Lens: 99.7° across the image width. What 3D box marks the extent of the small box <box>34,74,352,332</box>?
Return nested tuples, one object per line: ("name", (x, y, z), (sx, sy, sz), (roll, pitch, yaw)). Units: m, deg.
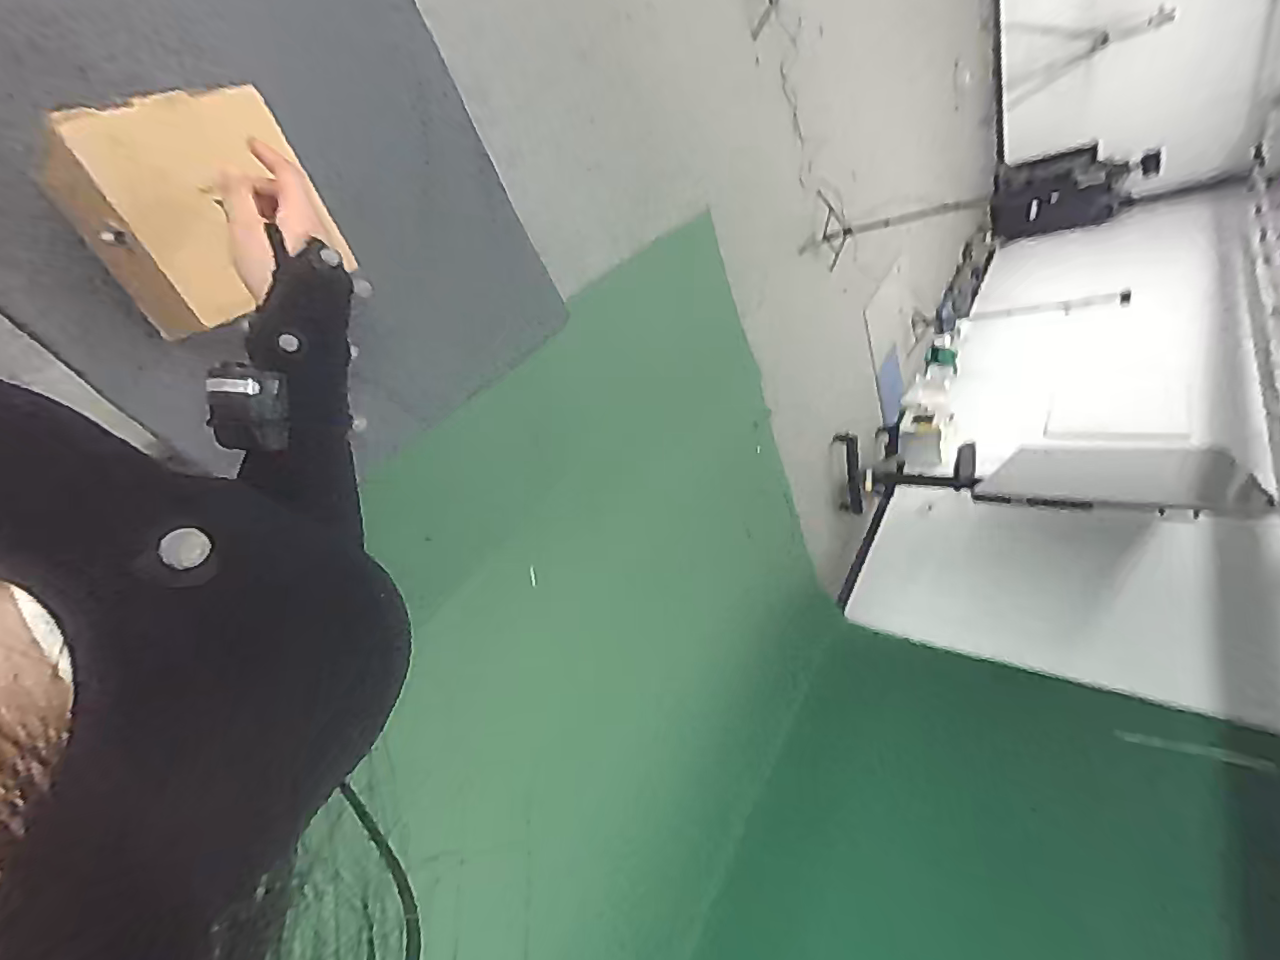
("small box", (-0.444, -0.266, 0.545), (0.168, 0.176, 0.179), (-47, 128, -36))
